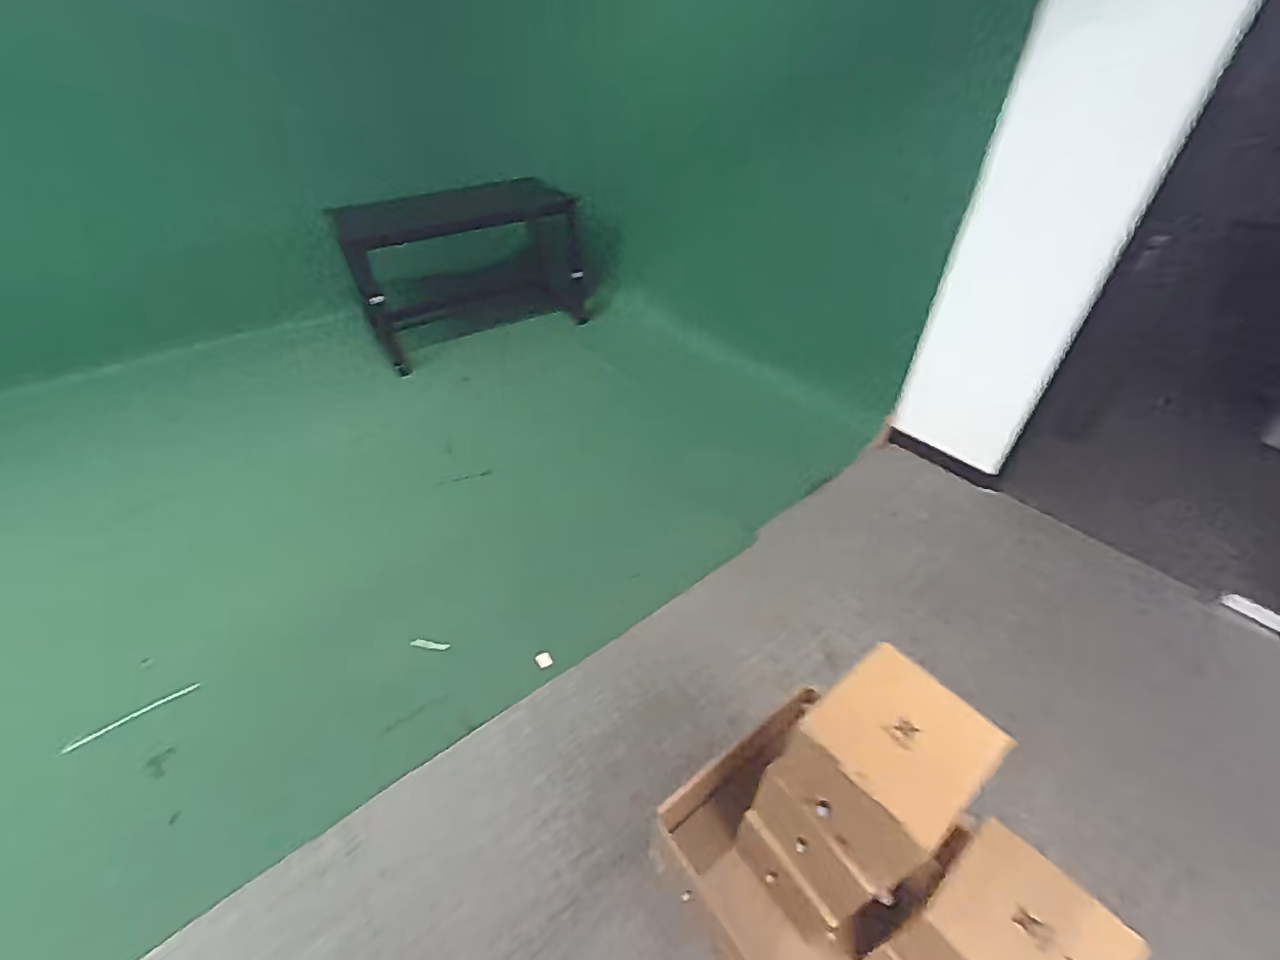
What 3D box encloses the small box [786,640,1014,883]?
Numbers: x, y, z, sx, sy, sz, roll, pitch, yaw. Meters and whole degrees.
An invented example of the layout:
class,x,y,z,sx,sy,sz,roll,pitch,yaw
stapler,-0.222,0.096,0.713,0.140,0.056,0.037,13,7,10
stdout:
class,x,y,z,sx,sy,sz,roll,pitch,yaw
small box,0.303,0.341,0.665,0.179,0.176,0.168,-28,48,-27
